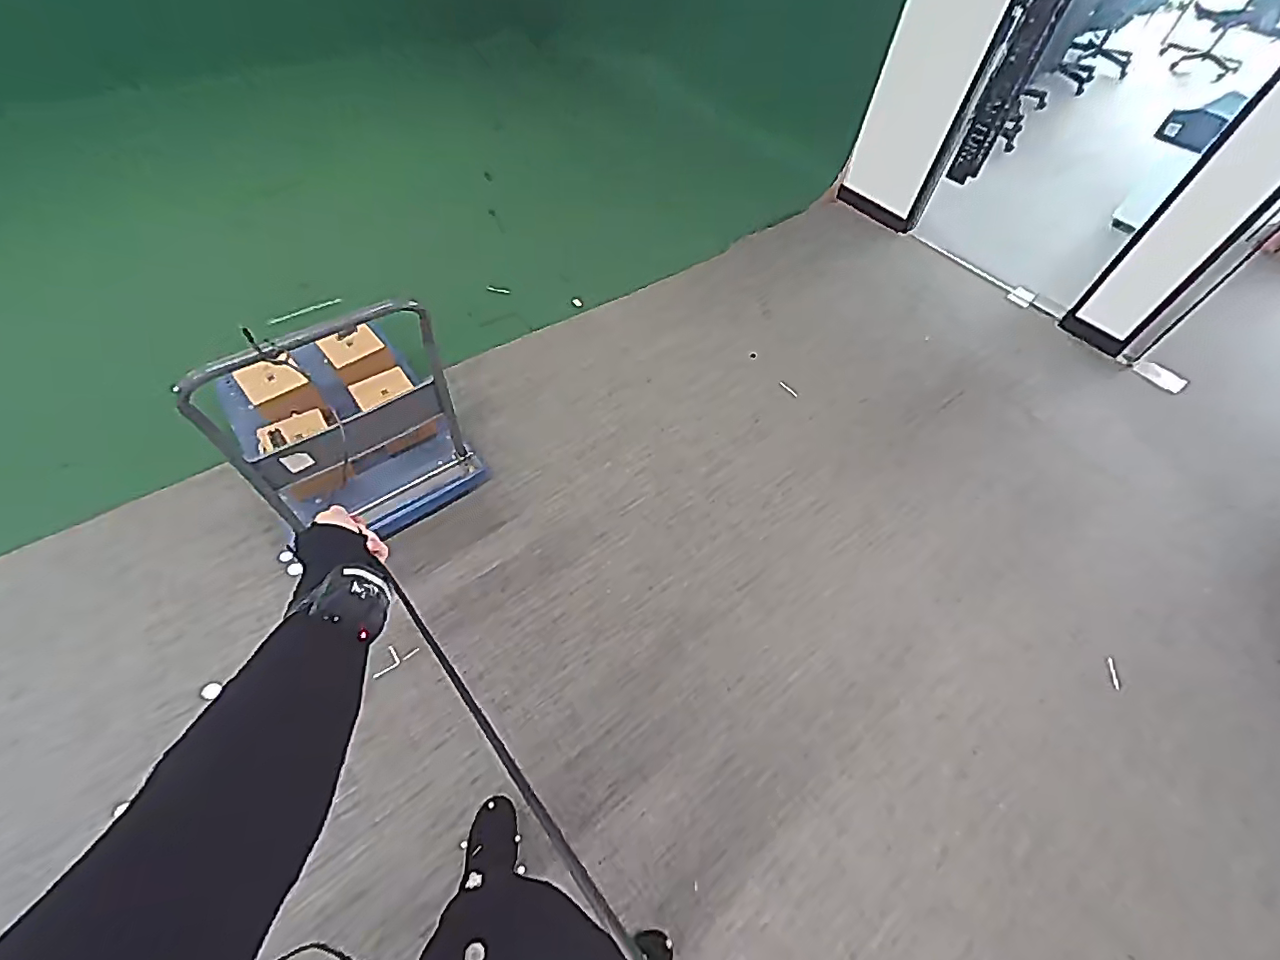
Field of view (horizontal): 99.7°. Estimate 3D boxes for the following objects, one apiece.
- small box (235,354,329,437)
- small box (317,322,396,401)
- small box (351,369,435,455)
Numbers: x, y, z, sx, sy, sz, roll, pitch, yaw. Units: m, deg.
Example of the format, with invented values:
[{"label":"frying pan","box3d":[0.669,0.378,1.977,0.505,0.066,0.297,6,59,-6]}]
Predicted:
[{"label":"small box","box3d":[-1.132,-0.262,1.721,0.168,0.176,0.179,-35,64,-25]},{"label":"small box","box3d":[-0.946,-0.395,1.827,0.168,0.176,0.179,-35,66,-24]},{"label":"small box","box3d":[-0.779,-0.214,1.716,0.168,0.176,0.179,-31,64,-23]}]
